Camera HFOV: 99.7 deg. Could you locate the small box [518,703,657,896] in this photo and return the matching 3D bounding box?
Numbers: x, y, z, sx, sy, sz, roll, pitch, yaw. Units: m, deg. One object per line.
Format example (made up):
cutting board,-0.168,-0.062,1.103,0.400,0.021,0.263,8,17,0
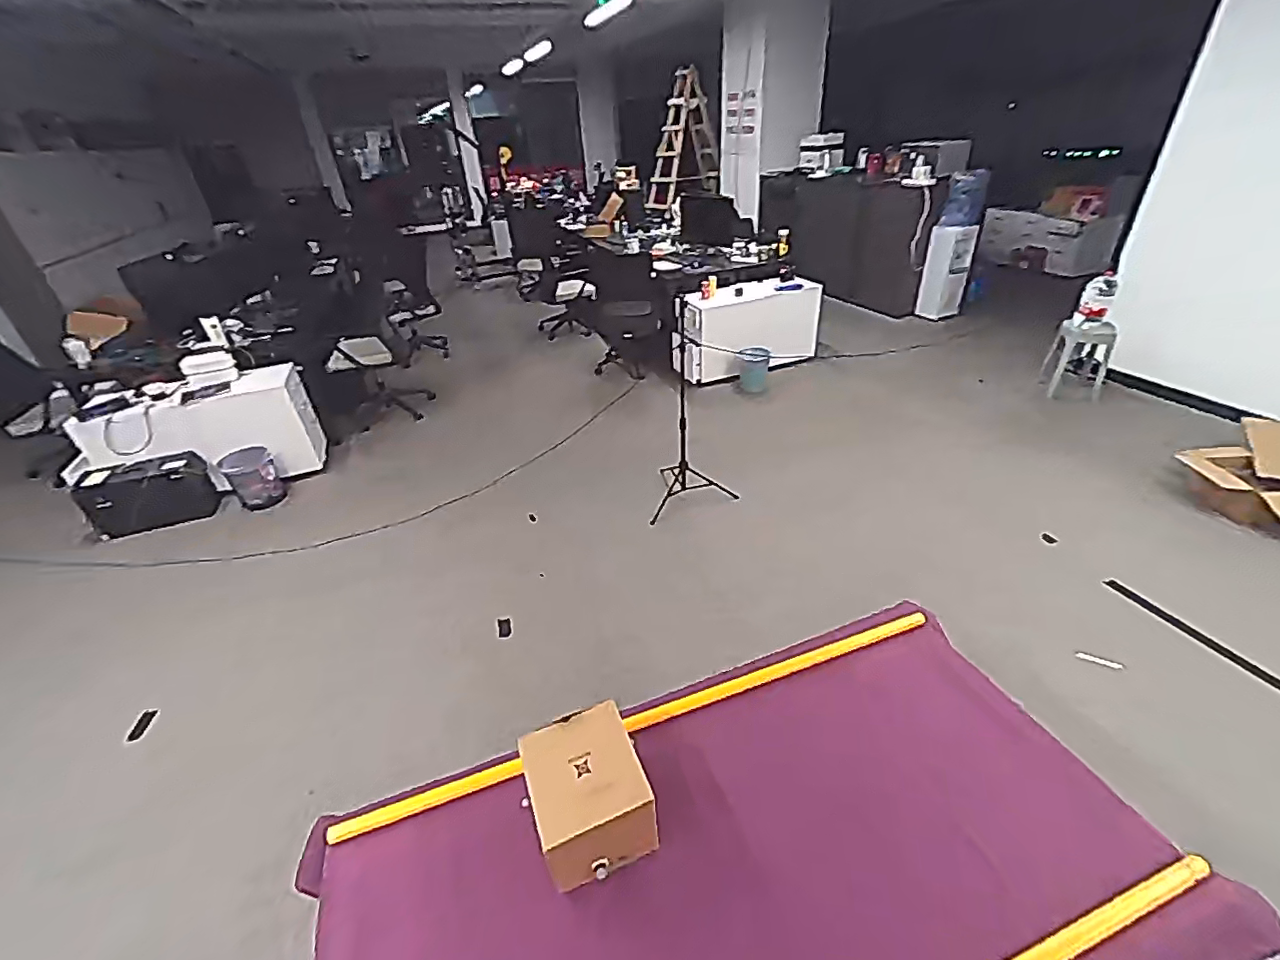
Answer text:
small box,-0.082,0.497,0.850,0.168,0.176,0.179,-17,36,-17
